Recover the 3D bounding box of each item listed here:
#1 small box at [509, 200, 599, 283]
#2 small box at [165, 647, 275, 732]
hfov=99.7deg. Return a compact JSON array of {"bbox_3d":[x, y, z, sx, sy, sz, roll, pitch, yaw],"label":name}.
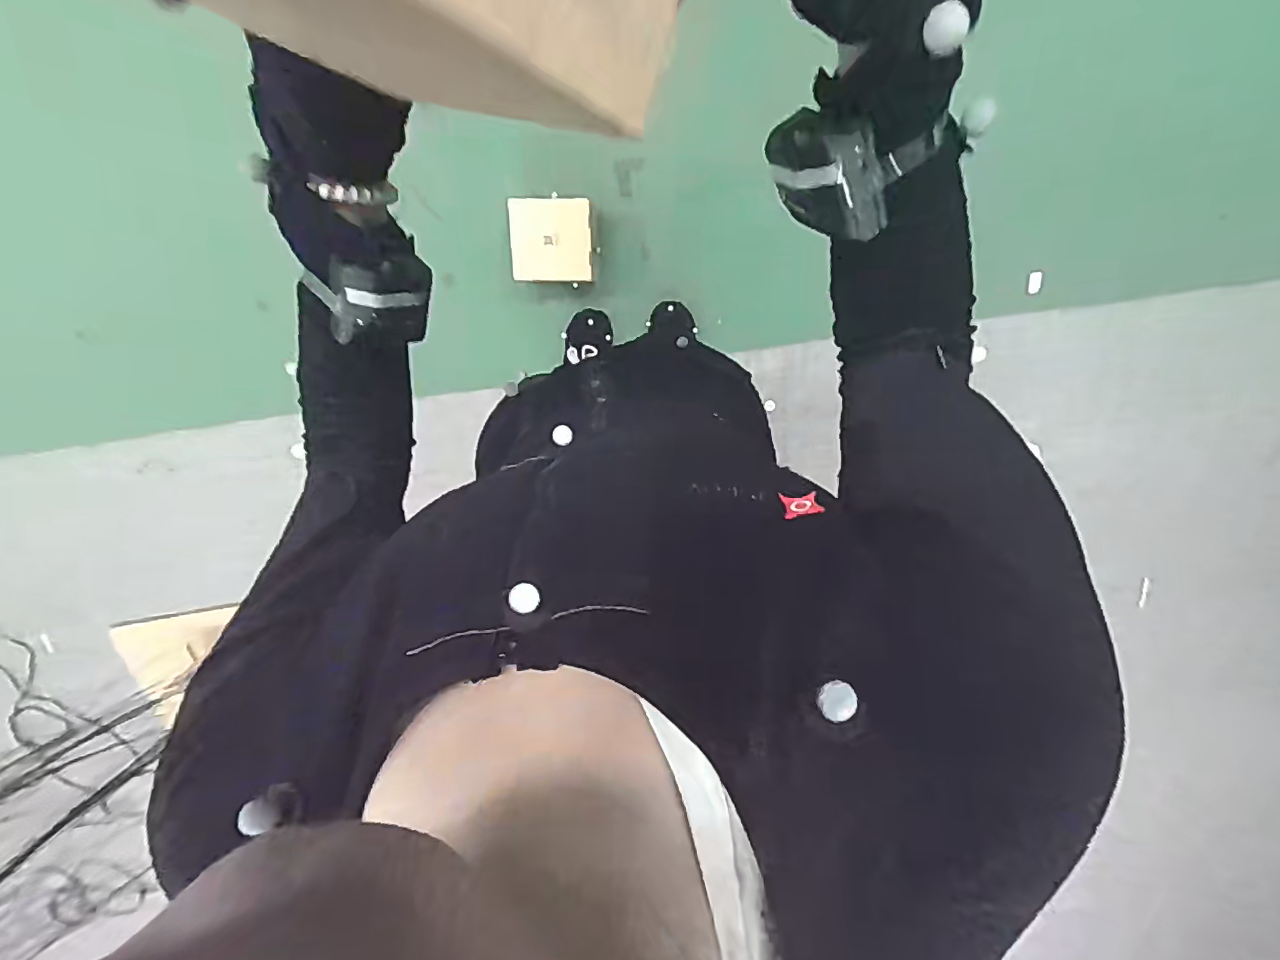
[{"bbox_3d":[-0.191,-0.544,1.248,0.179,0.176,0.168,0,110,0],"label":"small box"},{"bbox_3d":[-1.293,0.646,1.679,0.179,0.176,0.168,-10,111,4],"label":"small box"}]
